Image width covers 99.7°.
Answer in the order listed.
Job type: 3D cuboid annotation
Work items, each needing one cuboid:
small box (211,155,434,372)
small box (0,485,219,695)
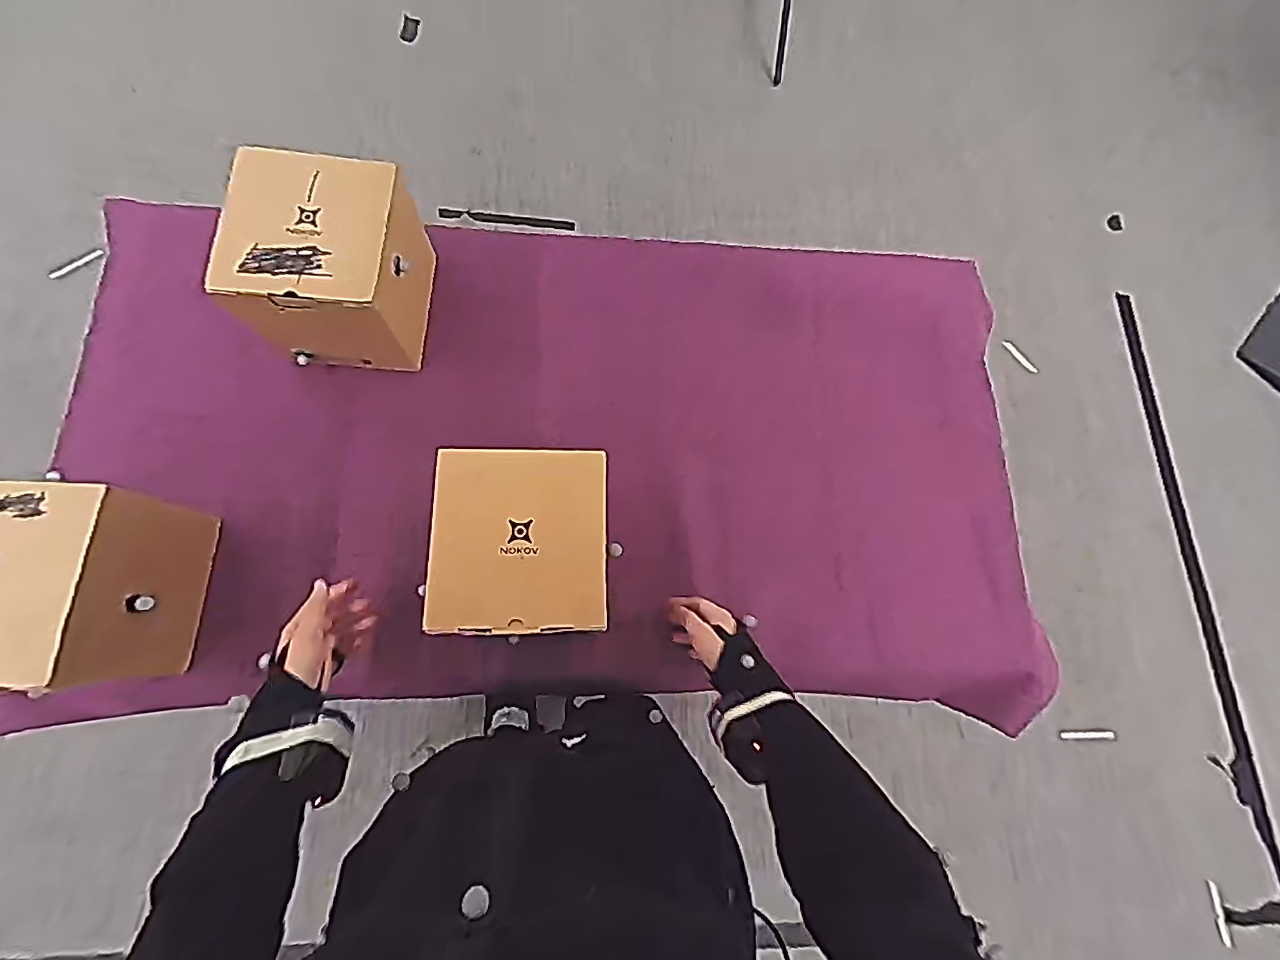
[{"bbox_3d":[-0.359,-0.245,0.649,0.168,0.176,0.179,4,76,-6],"label":"small box"},{"bbox_3d":[-0.566,0.108,0.537,0.168,0.176,0.179,3,75,-6],"label":"small box"}]
